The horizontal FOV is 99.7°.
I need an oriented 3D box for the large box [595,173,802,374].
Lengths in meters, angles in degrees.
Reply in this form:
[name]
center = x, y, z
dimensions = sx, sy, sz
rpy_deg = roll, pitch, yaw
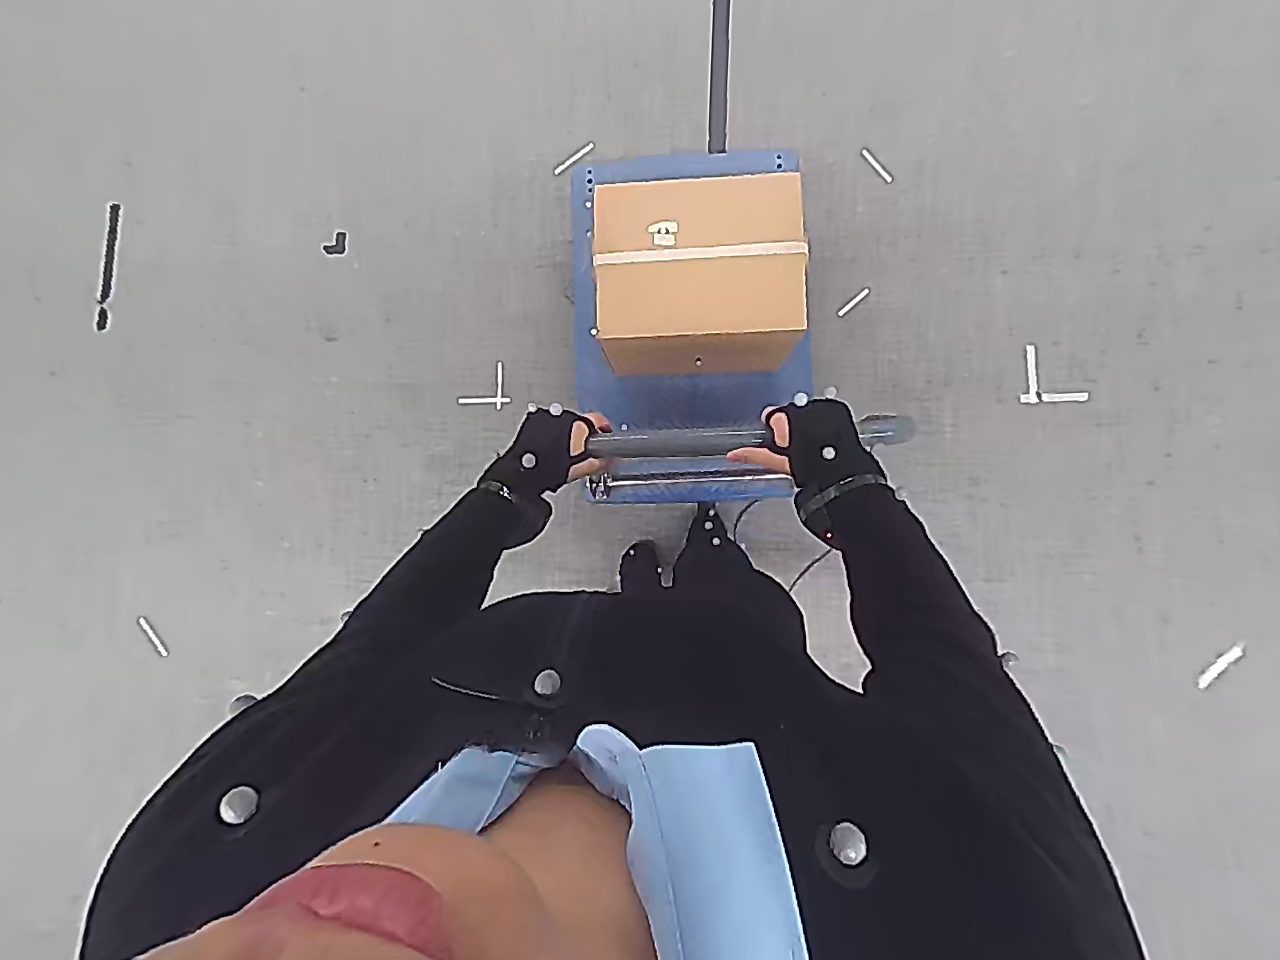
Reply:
[large box]
center = 0.126, -0.434, 1.218
dimensions = 0.408, 0.320, 0.320
rpy_deg = -2, 85, 5
